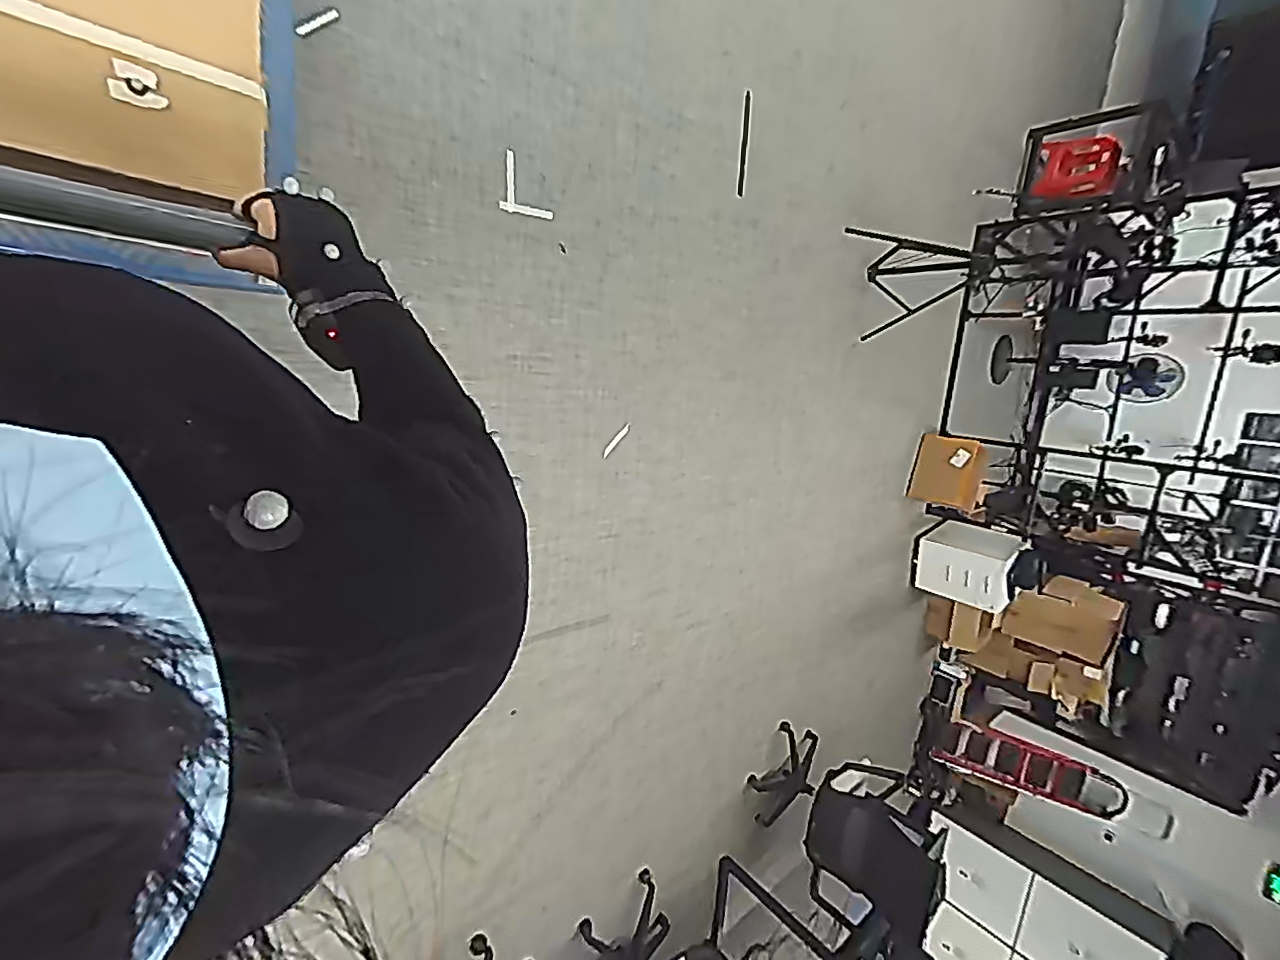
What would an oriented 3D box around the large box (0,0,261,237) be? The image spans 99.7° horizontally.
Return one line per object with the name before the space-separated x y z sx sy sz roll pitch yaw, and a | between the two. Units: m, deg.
large box | -0.801 -0.566 0.755 0.408 0.320 0.320 -3 104 -42
